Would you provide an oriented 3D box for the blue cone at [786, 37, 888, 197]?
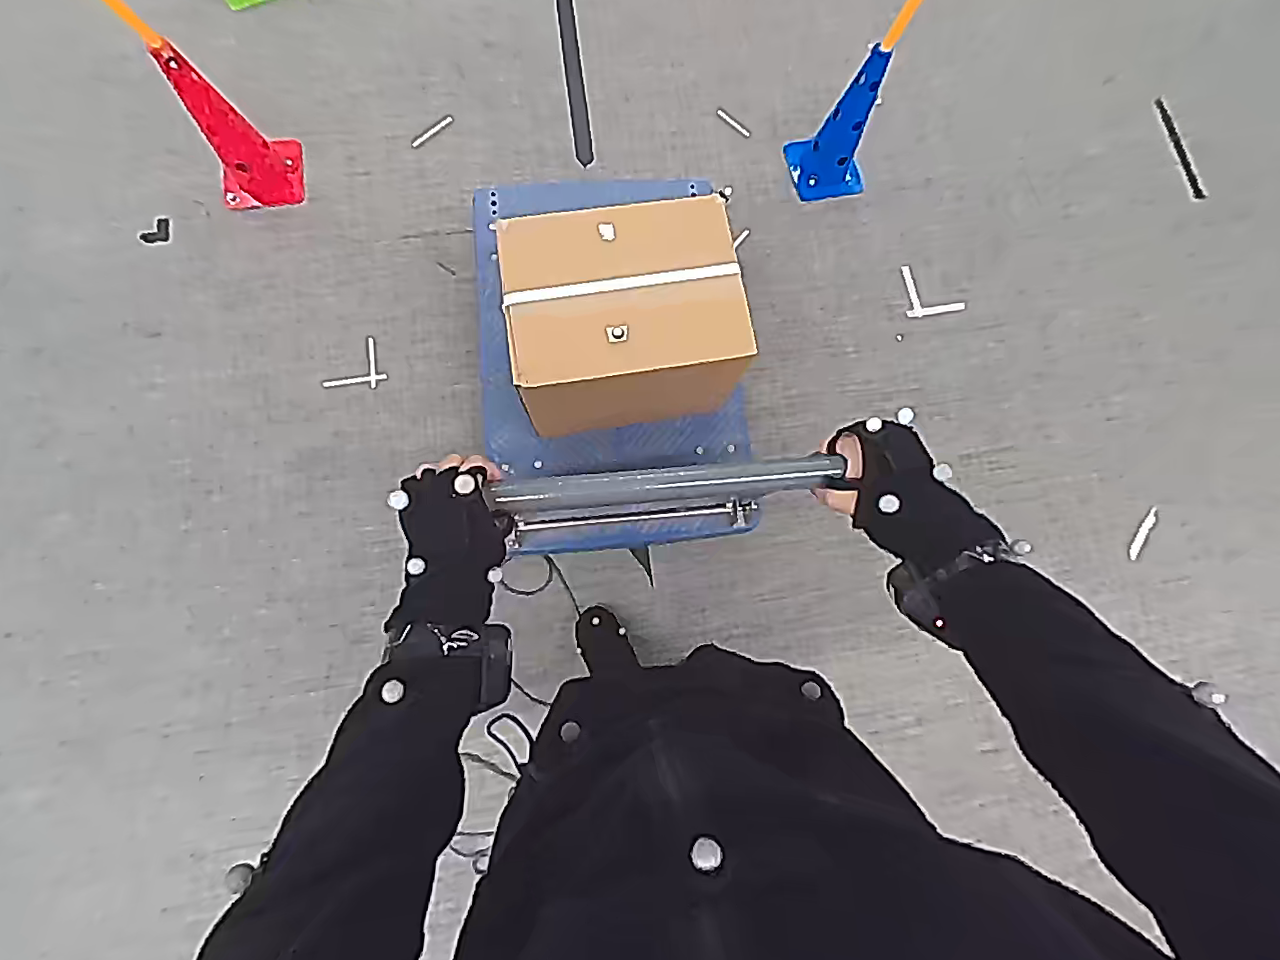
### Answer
[{"bbox_3d":[0.543,-0.948,1.413,0.193,0.380,0.192,-12,78,-6],"label":"blue cone"}]
